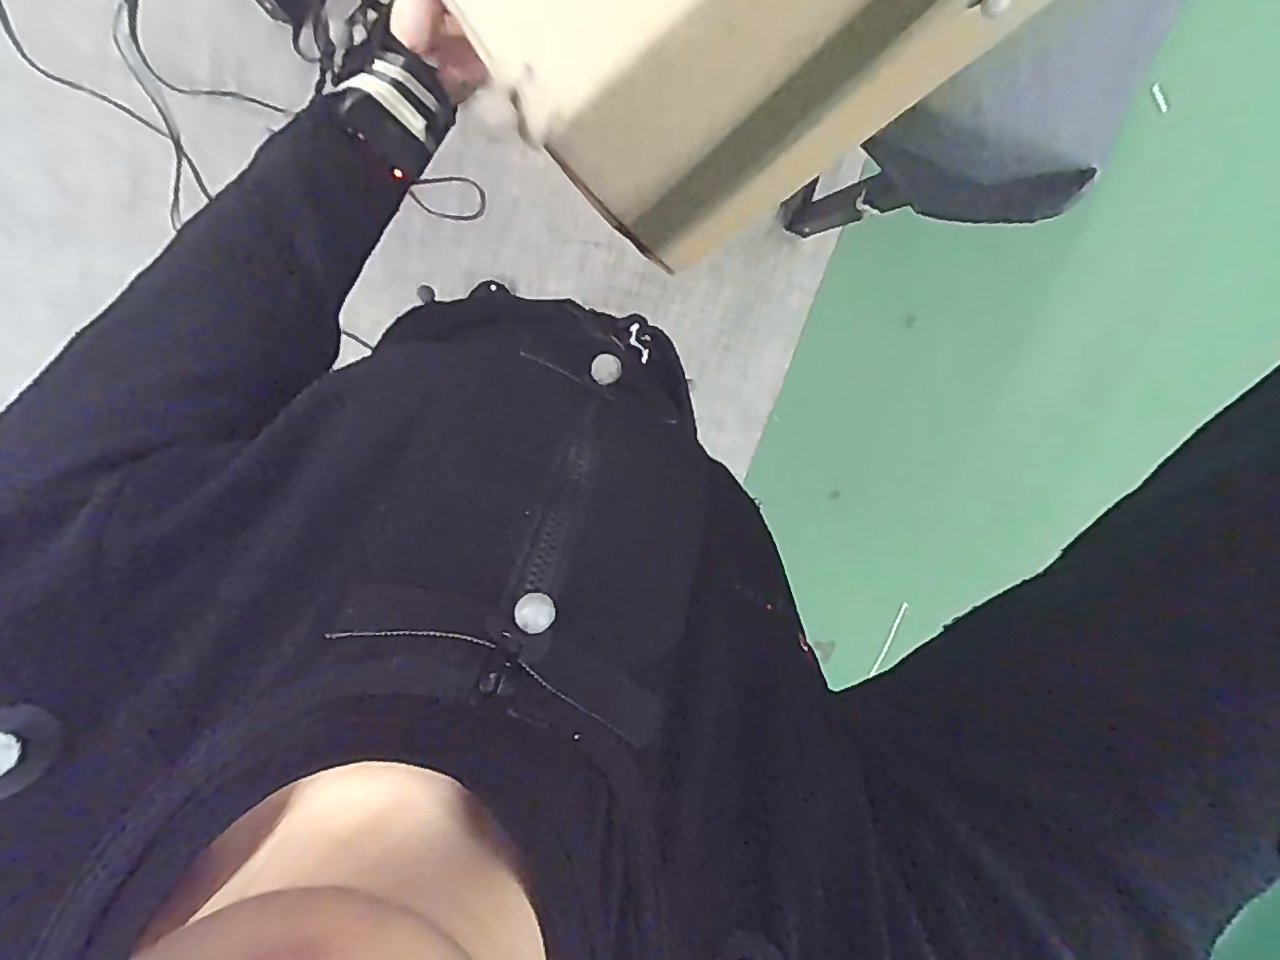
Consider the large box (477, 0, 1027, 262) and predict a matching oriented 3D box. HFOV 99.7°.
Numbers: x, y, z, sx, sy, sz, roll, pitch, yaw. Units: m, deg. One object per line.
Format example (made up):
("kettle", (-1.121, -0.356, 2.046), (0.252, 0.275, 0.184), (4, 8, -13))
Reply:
("large box", (0.086, -0.374, 0.254), (0.408, 0.320, 0.320), (-34, 94, 19))
